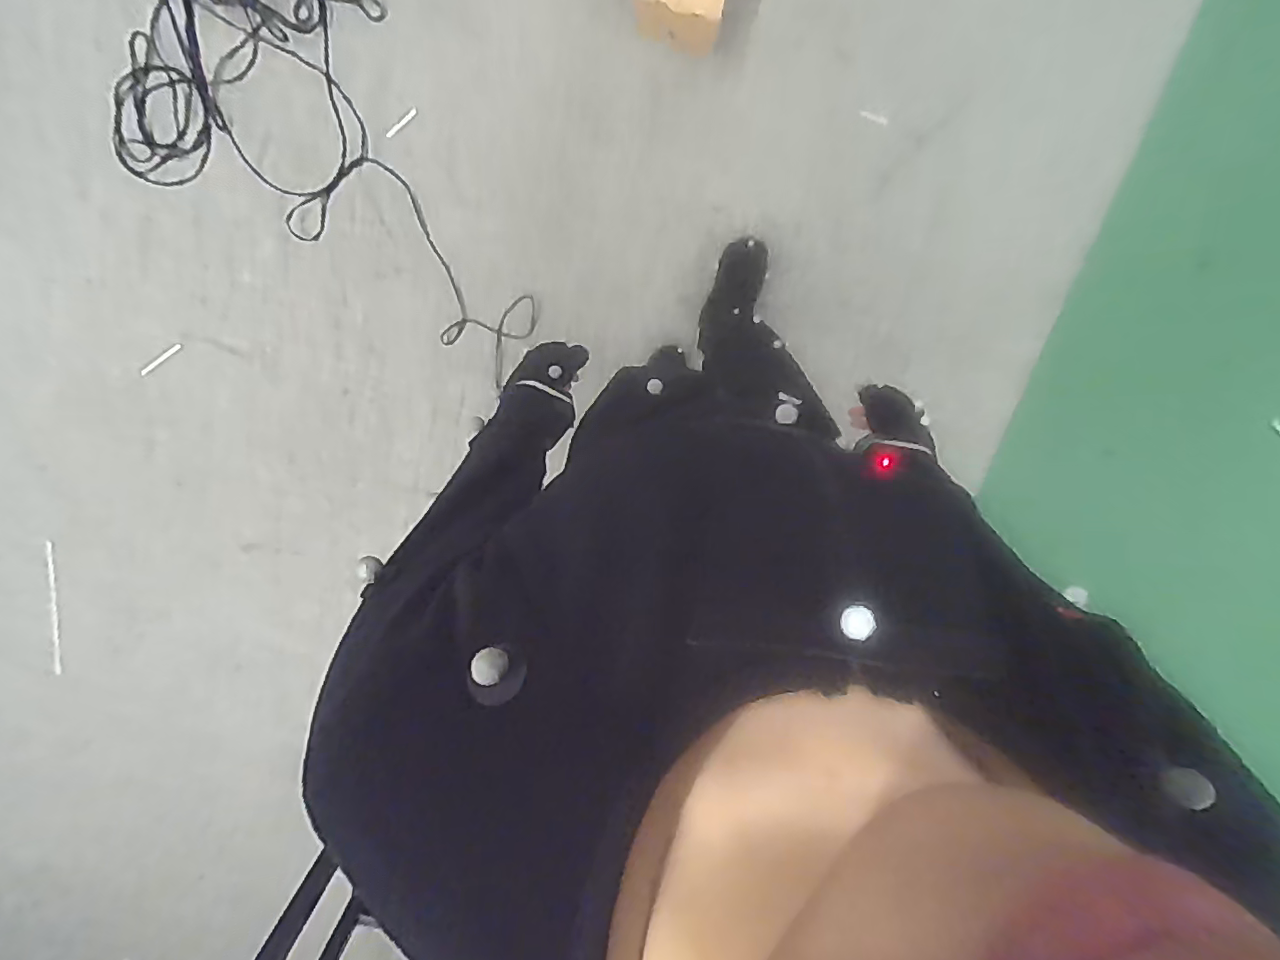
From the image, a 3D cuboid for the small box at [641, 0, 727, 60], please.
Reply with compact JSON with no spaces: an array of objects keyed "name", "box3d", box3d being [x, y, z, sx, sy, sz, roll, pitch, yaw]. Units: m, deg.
[{"name":"small box","box3d":[0.099,-1.021,1.112,0.168,0.176,0.179,15,106,-2]}]
